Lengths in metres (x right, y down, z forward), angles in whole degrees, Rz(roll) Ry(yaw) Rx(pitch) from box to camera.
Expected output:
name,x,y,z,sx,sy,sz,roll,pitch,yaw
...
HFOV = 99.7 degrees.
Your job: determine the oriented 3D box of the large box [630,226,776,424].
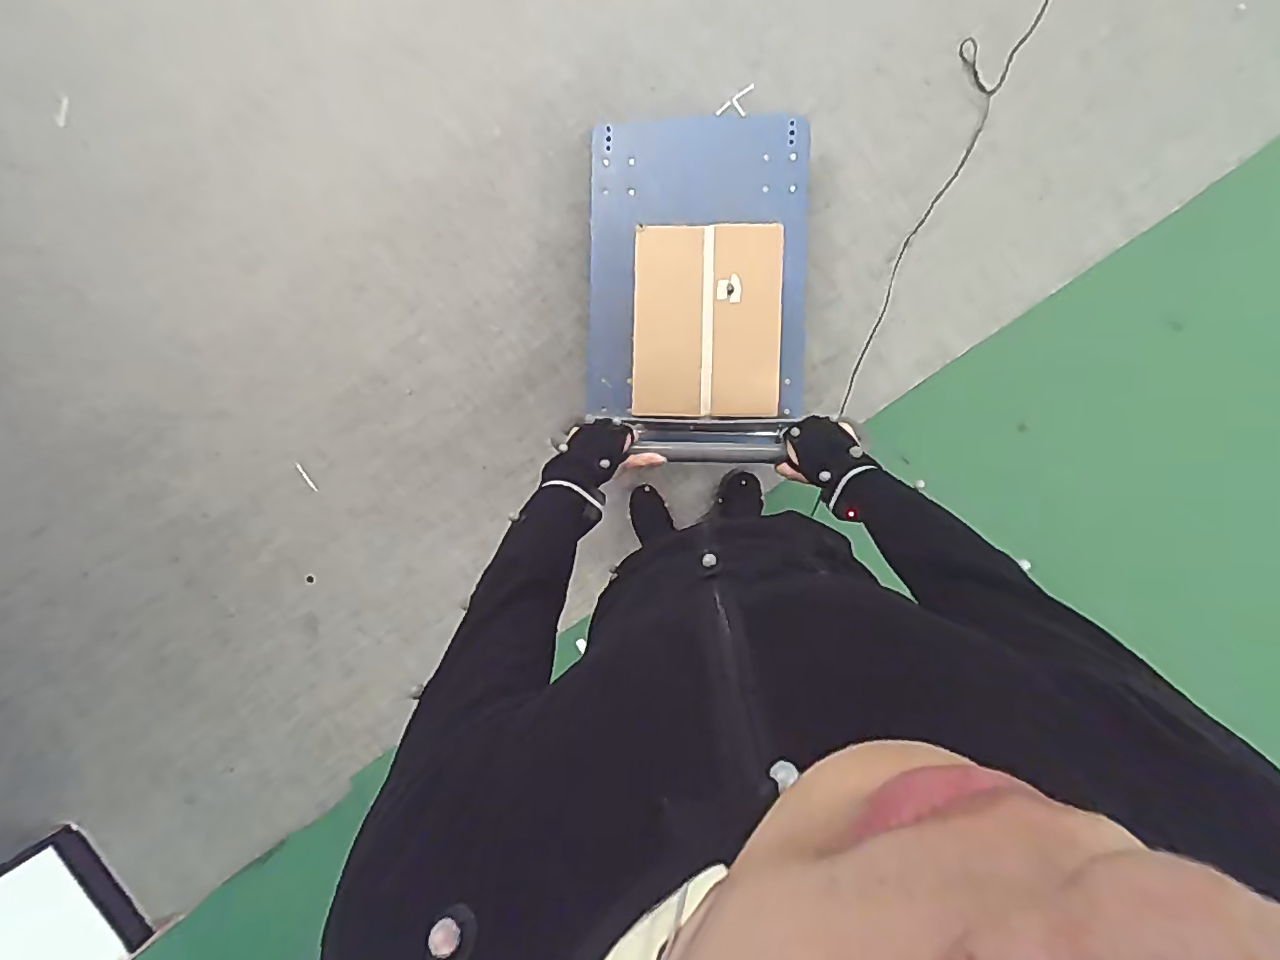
name,x,y,z,sx,sy,sz,roll,pitch,yaw
large box,0.147,-0.346,1.312,0.320,0.320,0.408,2,91,4
